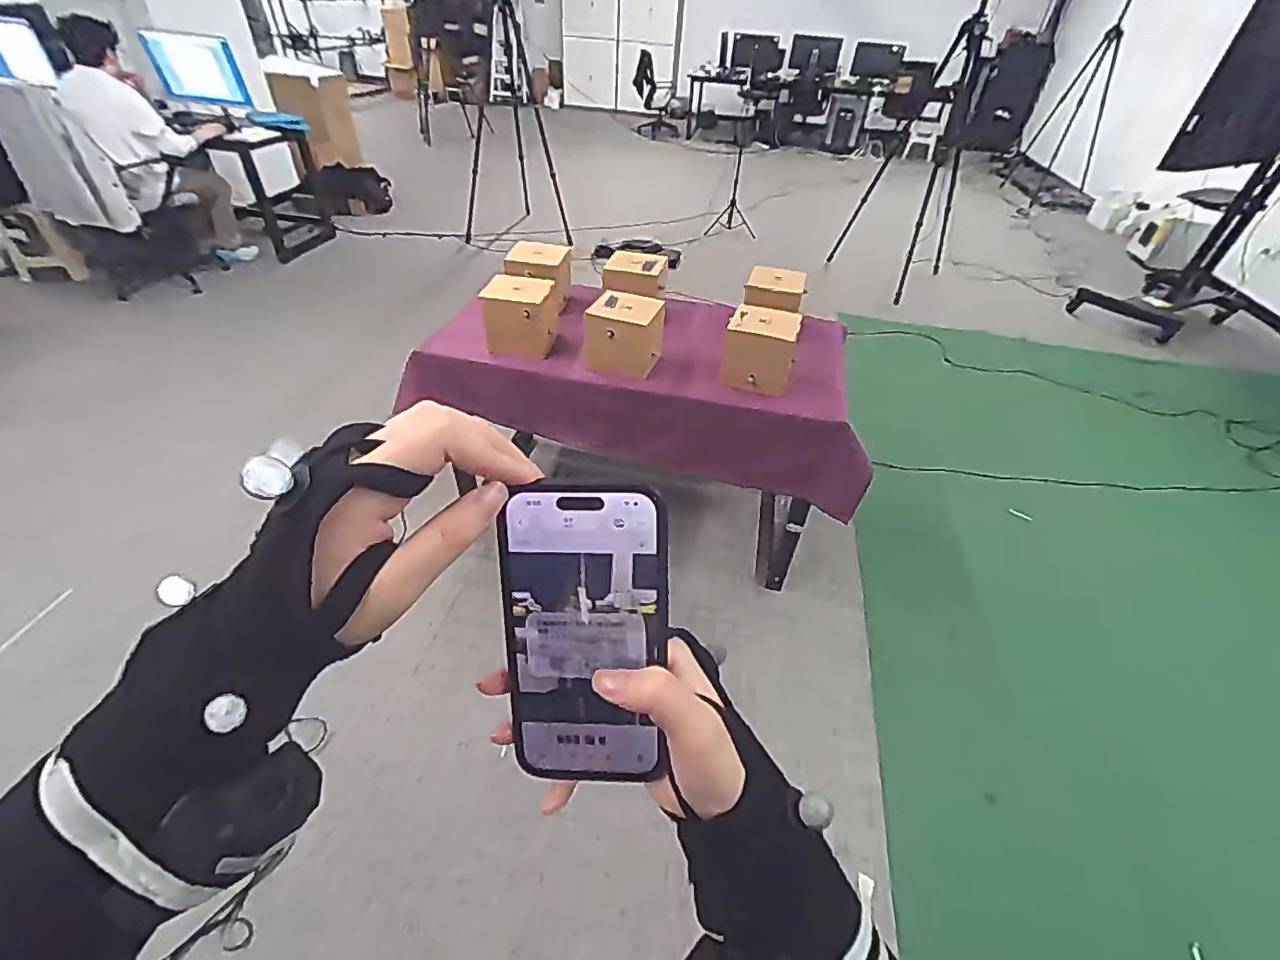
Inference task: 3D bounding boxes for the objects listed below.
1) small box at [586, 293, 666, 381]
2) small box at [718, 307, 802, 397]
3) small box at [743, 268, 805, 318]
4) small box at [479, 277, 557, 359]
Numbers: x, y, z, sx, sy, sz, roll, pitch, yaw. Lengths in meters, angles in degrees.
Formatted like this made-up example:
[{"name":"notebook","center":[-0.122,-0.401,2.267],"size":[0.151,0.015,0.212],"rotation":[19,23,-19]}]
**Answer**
[{"name":"small box","center":[-0.041,-0.395,1.500],"size":[0.179,0.176,0.168],"rotation":[16,43,11]},{"name":"small box","center":[0.326,-0.346,1.475],"size":[0.179,0.176,0.168],"rotation":[16,43,13]},{"name":"small box","center":[0.413,-0.543,1.703],"size":[0.168,0.176,0.179],"rotation":[13,43,11]},{"name":"small box","center":[-0.342,-0.464,1.553],"size":[0.179,0.176,0.168],"rotation":[8,41,2]}]
